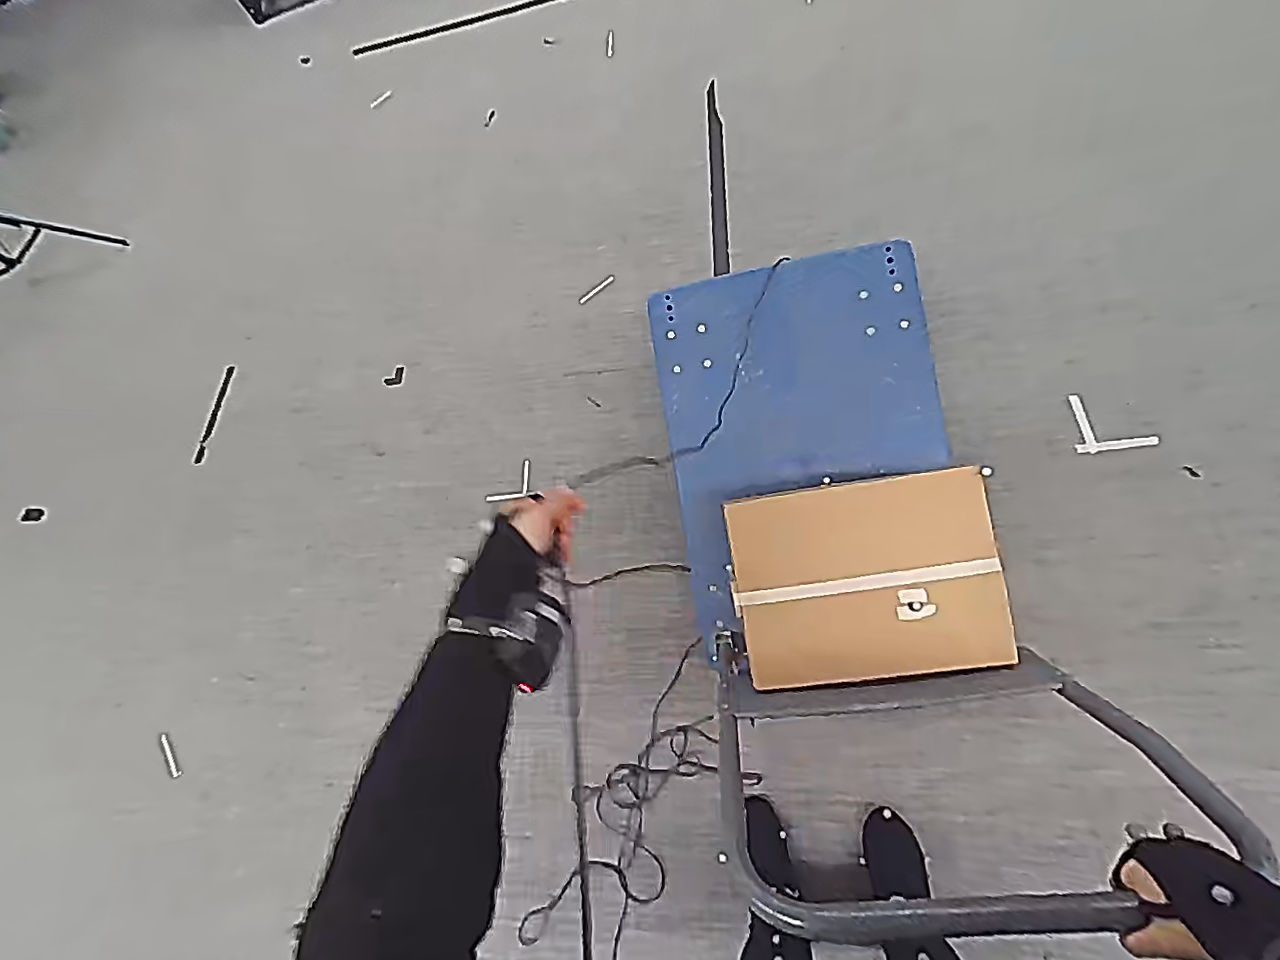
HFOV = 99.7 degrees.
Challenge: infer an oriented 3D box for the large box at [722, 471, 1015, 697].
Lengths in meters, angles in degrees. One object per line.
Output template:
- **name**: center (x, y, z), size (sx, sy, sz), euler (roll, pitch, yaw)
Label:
- **large box**: center (0.379, 0.175, 1.009), size (0.408, 0.320, 0.320), euler (-10, 88, 8)
